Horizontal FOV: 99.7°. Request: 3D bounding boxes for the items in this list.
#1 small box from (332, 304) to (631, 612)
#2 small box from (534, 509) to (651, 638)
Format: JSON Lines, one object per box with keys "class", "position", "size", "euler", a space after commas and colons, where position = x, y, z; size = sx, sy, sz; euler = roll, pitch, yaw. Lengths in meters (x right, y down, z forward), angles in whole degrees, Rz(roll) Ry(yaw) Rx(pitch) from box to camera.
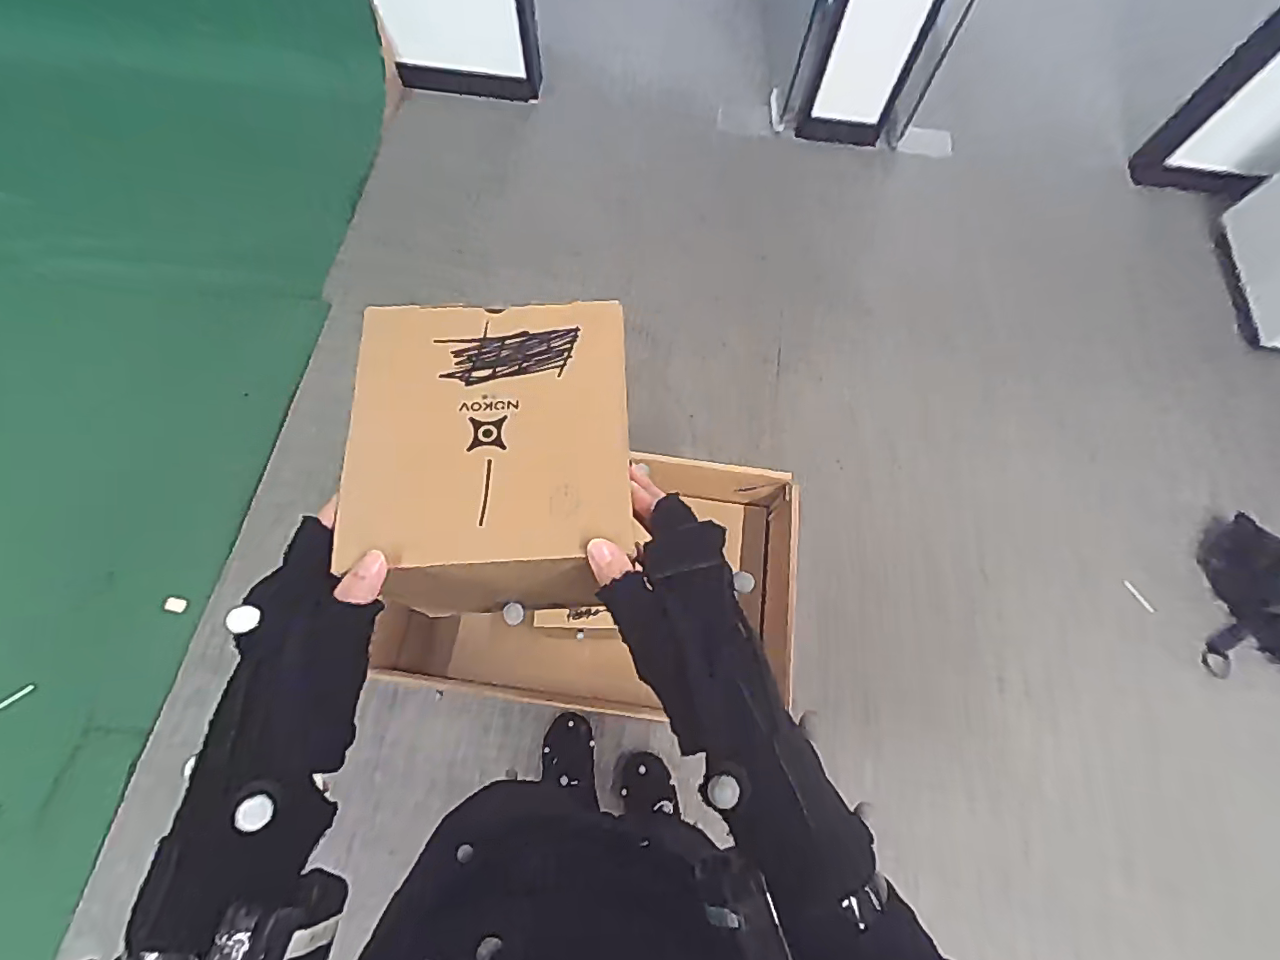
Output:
{"class": "small box", "position": [-0.095, -0.005, 0.403], "size": [0.168, 0.176, 0.179], "euler": [-3, 69, -3]}
{"class": "small box", "position": [-0.070, 0.153, 0.870], "size": [0.168, 0.176, 0.179], "euler": [1, 68, 0]}
